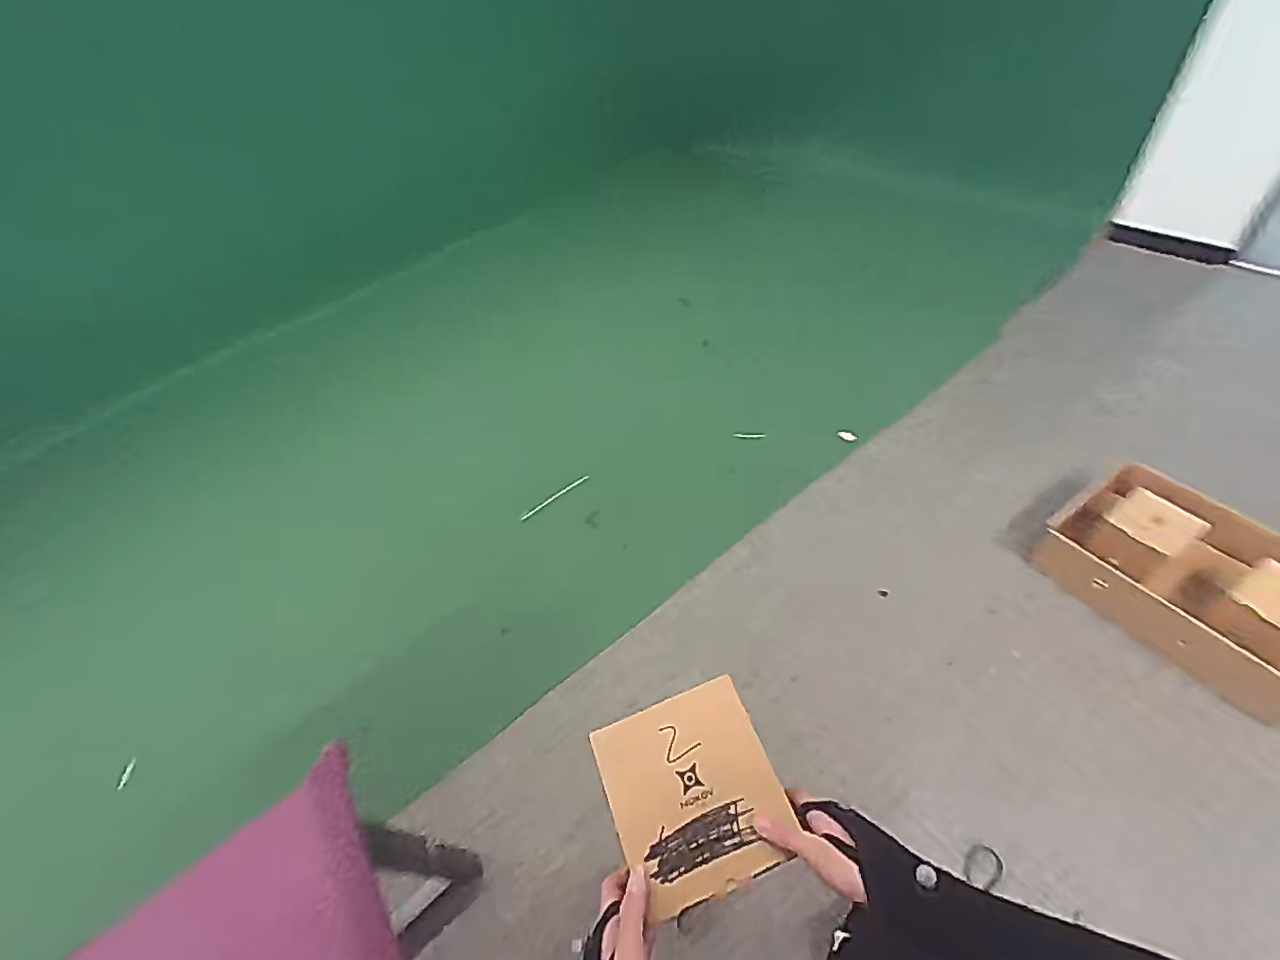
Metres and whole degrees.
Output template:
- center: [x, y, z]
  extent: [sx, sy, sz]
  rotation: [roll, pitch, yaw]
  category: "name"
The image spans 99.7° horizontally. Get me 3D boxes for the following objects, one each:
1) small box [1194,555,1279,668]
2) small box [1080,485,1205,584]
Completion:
- center: [1.541, 0.325, 1.330]
  extent: [0.179, 0.176, 0.168]
  rotation: [-31, 50, -13]
  category: "small box"
- center: [1.389, 0.154, 1.509]
  extent: [0.179, 0.176, 0.168]
  rotation: [-31, 50, -15]
  category: "small box"
